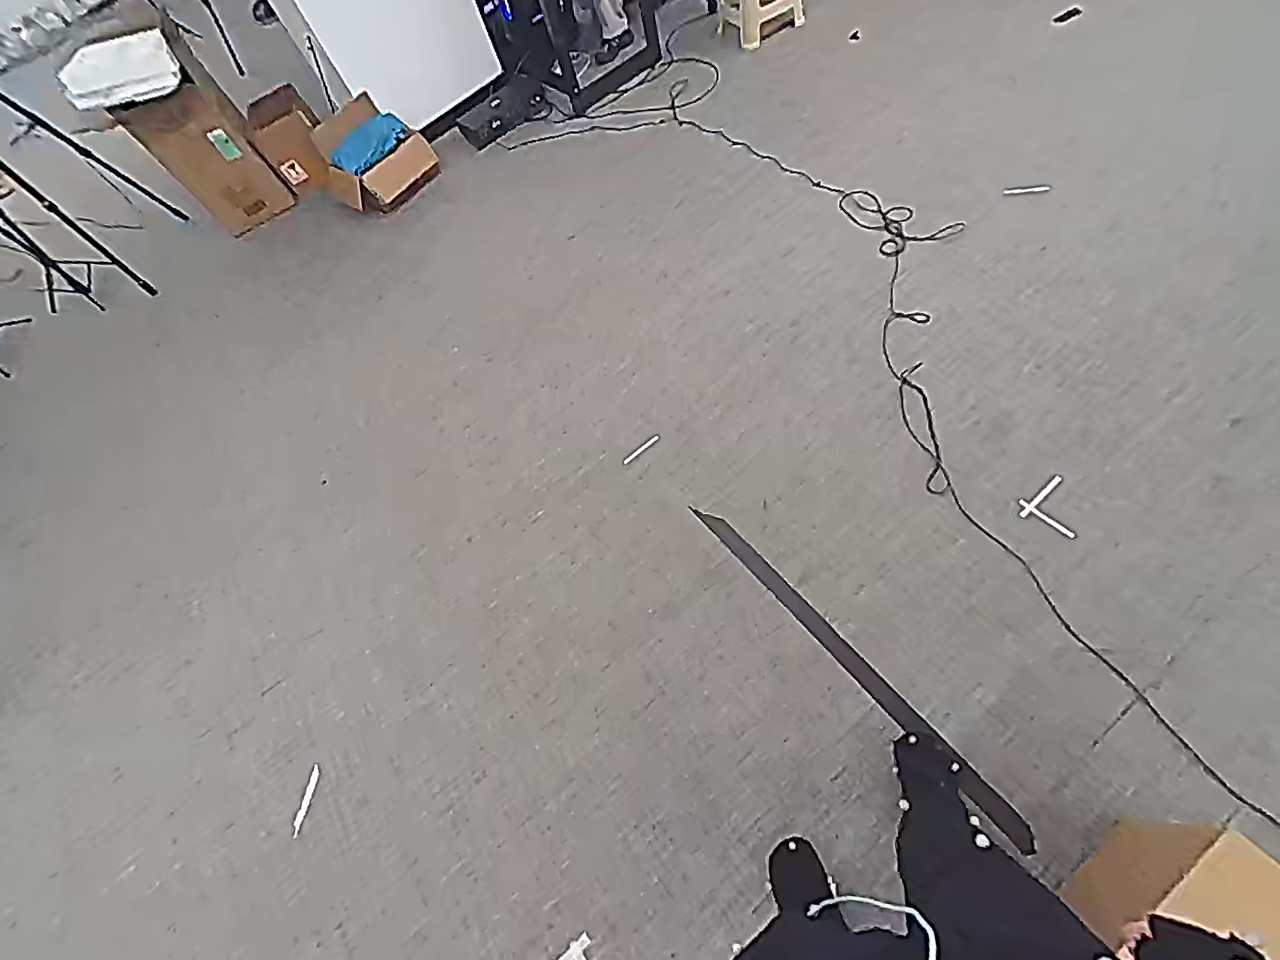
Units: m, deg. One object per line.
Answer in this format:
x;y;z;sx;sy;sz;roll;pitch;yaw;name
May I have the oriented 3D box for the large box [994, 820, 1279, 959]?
0.827;0.799;0.810;0.408;0.320;0.320;-40;57;-7;large box
